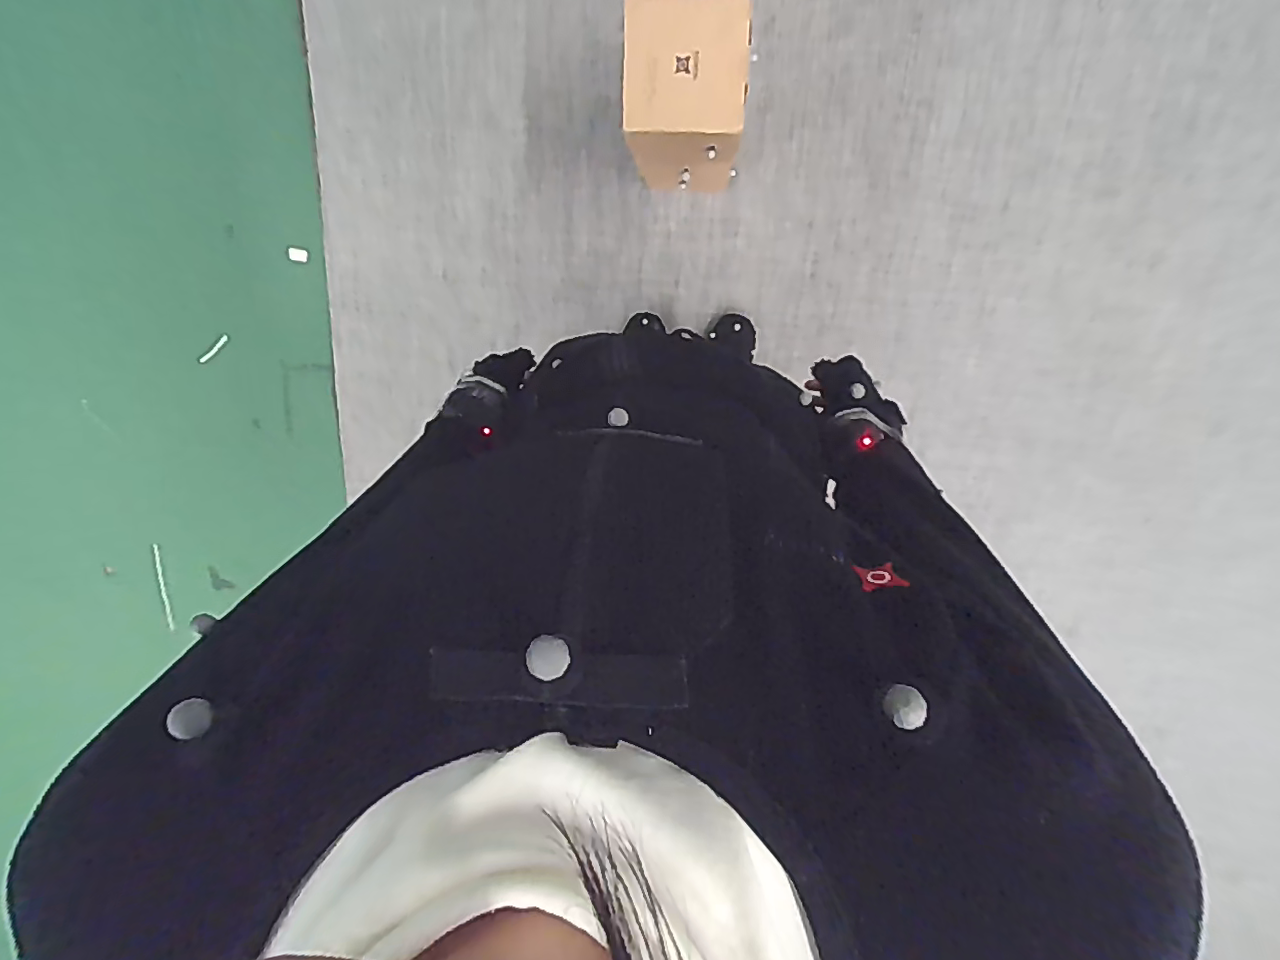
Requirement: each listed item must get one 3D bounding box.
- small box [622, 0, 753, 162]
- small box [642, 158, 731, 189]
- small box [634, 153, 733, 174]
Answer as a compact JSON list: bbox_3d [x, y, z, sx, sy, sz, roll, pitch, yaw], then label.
[{"bbox_3d":[0.072,-0.601,0.826,0.179,0.176,0.168,4,107,7],"label":"small box"},{"bbox_3d":[0.104,-0.717,1.130,0.179,0.176,0.168,6,108,6],"label":"small box"},{"bbox_3d":[0.084,-0.664,0.977,0.179,0.176,0.168,3,108,5],"label":"small box"}]
